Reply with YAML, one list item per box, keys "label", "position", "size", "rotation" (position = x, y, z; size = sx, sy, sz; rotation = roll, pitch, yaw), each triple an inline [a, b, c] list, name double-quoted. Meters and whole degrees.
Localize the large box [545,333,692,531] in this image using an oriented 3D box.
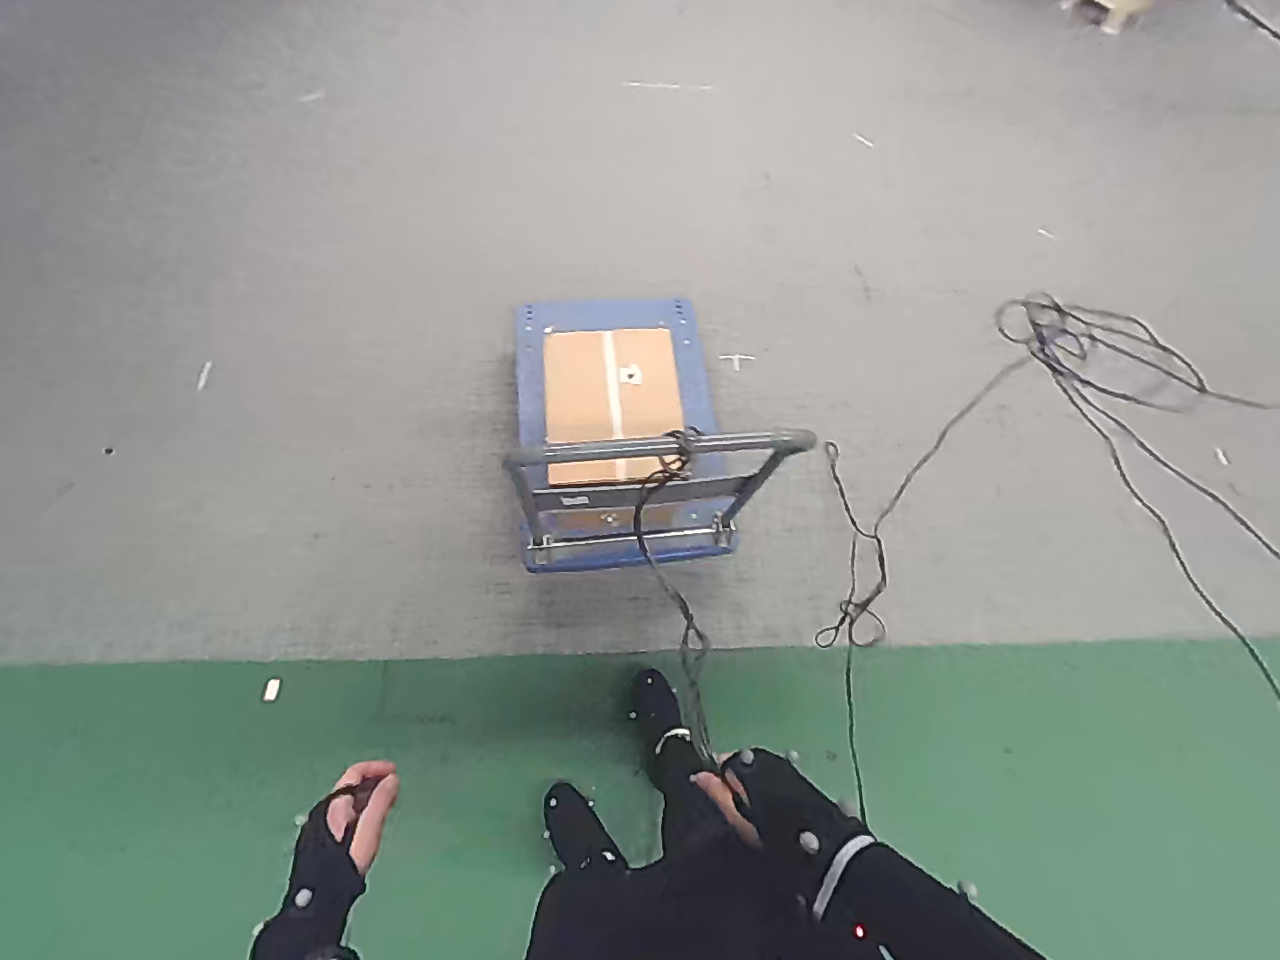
- label: "large box"
  position: [-0.065, -0.115, 1.390]
  size: [0.320, 0.320, 0.408]
  rotation: [-4, 66, -6]
